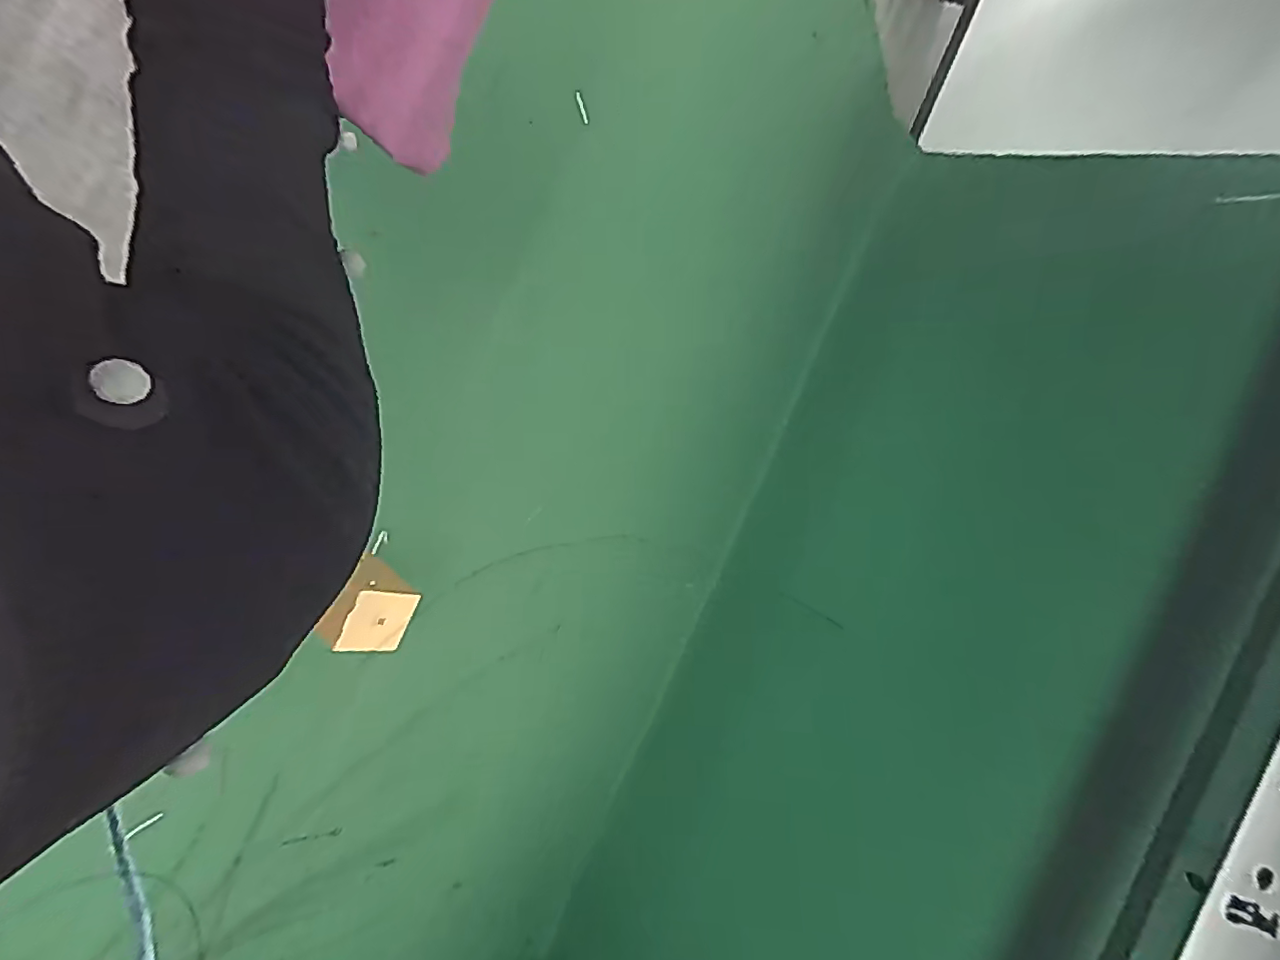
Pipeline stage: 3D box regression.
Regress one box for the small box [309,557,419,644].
[{"bbox_3d":[-0.734,0.318,1.437,0.179,0.176,0.168,25,90,-55],"label":"small box"}]
